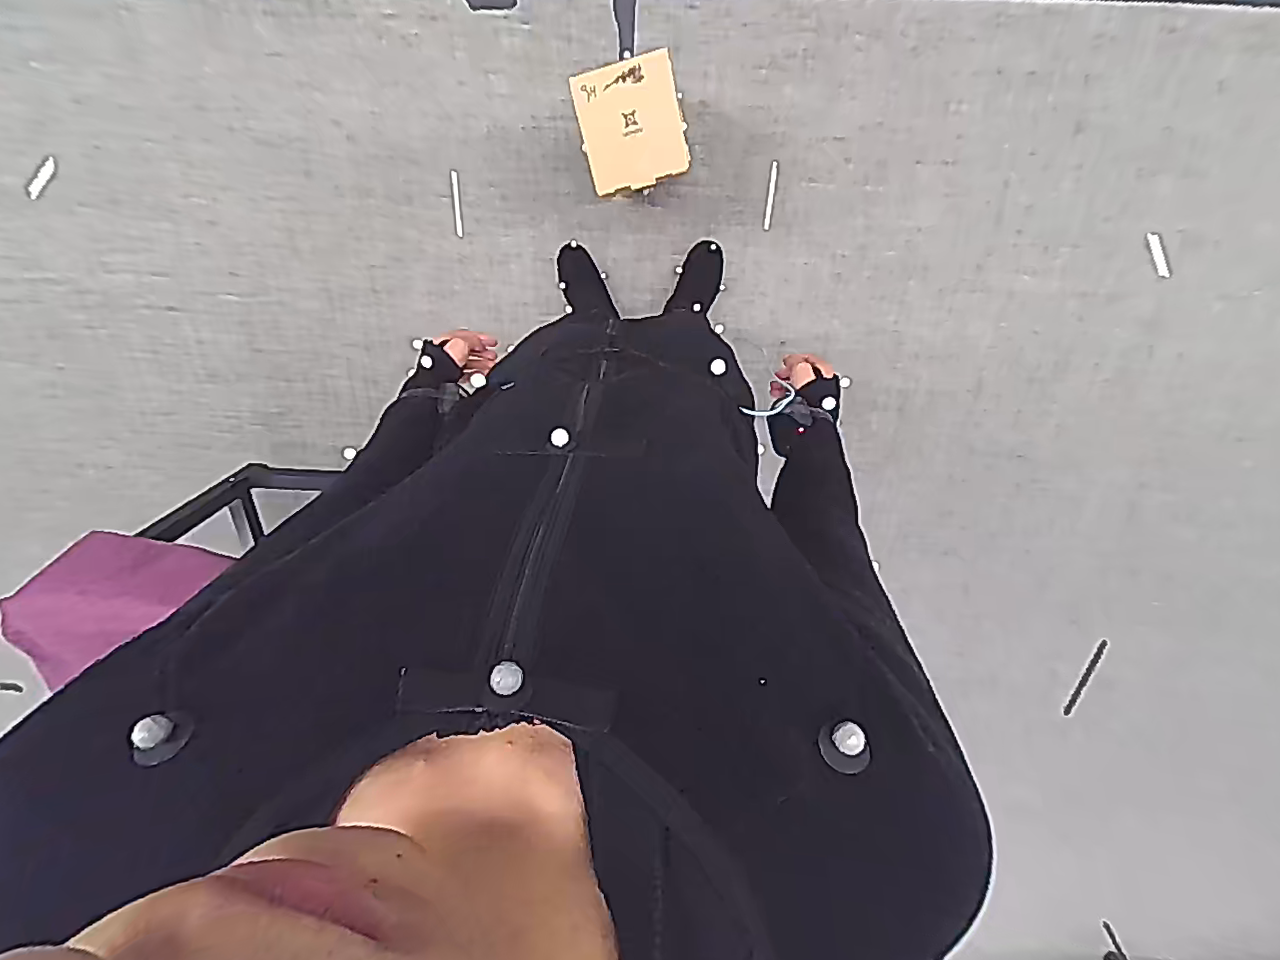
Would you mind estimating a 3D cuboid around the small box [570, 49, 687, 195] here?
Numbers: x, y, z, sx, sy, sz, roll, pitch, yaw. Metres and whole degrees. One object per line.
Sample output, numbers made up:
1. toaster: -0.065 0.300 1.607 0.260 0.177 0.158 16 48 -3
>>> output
1. small box: -0.013 -0.625 0.964 0.168 0.176 0.179 -12 117 7
